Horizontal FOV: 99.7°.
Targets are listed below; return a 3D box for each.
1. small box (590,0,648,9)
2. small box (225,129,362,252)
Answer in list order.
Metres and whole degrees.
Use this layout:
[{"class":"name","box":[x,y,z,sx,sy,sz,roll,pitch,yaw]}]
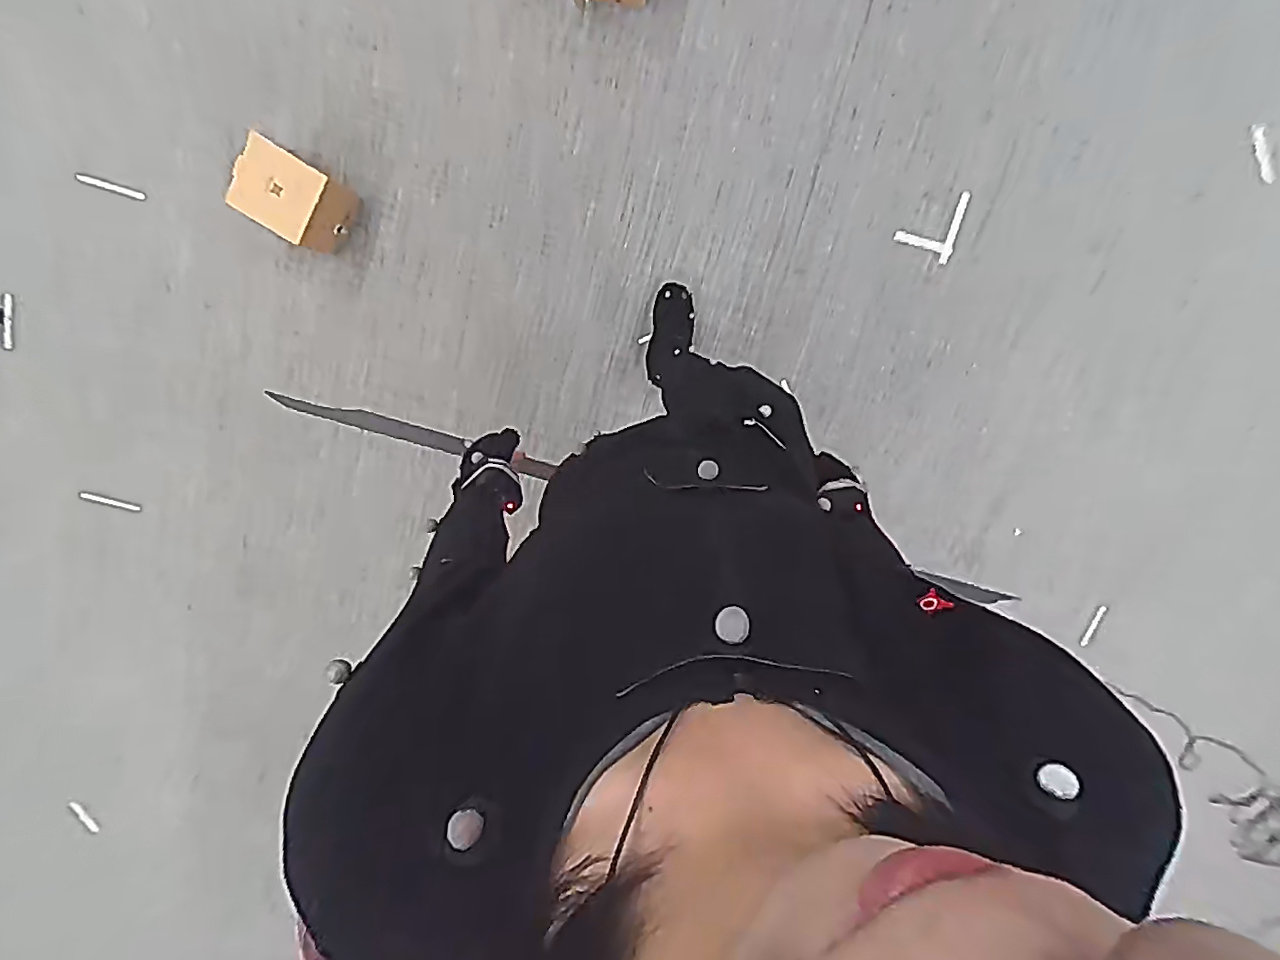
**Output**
[{"class":"small box","box":[-0.056,-1.155,1.149,0.168,0.176,0.179,4,103,-3]},{"class":"small box","box":[-0.784,-0.648,1.239,0.179,0.176,0.168,30,102,-10]}]
